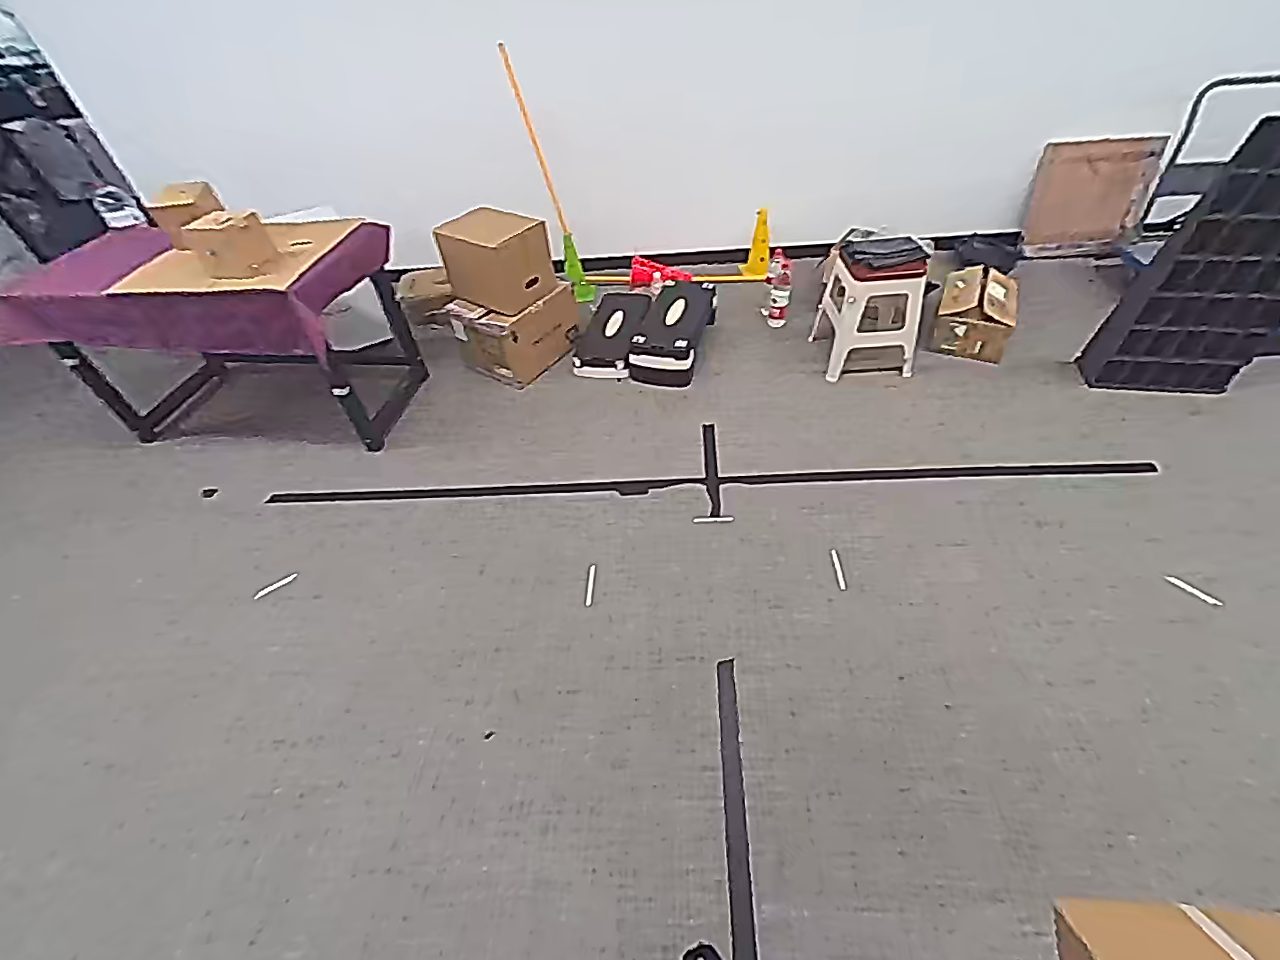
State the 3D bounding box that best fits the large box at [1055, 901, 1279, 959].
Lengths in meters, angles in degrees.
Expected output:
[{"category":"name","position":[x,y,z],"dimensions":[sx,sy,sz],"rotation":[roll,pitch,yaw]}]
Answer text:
[{"category":"large box","position":[0.674,0.708,0.506],"dimensions":[0.320,0.408,0.320],"rotation":[-3,85,12]}]
